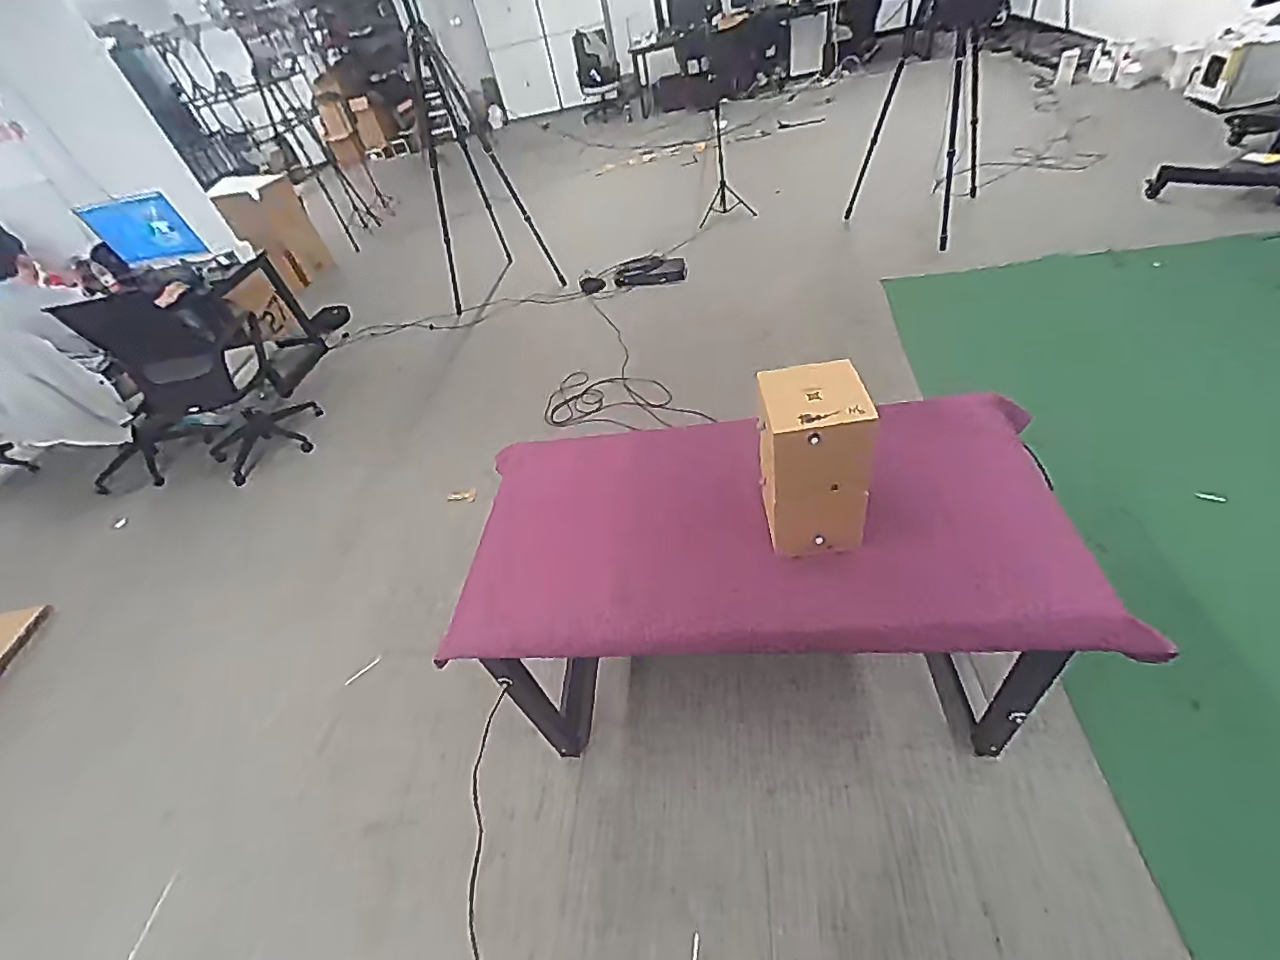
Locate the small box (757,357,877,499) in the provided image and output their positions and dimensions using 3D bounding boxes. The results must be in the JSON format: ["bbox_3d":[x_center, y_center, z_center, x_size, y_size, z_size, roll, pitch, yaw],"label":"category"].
[{"bbox_3d":[0.303,-0.091,0.961,0.168,0.176,0.179,-8,43,8],"label":"small box"}]

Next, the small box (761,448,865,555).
[{"bbox_3d":[0.334,0.025,1.074,0.168,0.176,0.179,-8,44,9],"label":"small box"}]
